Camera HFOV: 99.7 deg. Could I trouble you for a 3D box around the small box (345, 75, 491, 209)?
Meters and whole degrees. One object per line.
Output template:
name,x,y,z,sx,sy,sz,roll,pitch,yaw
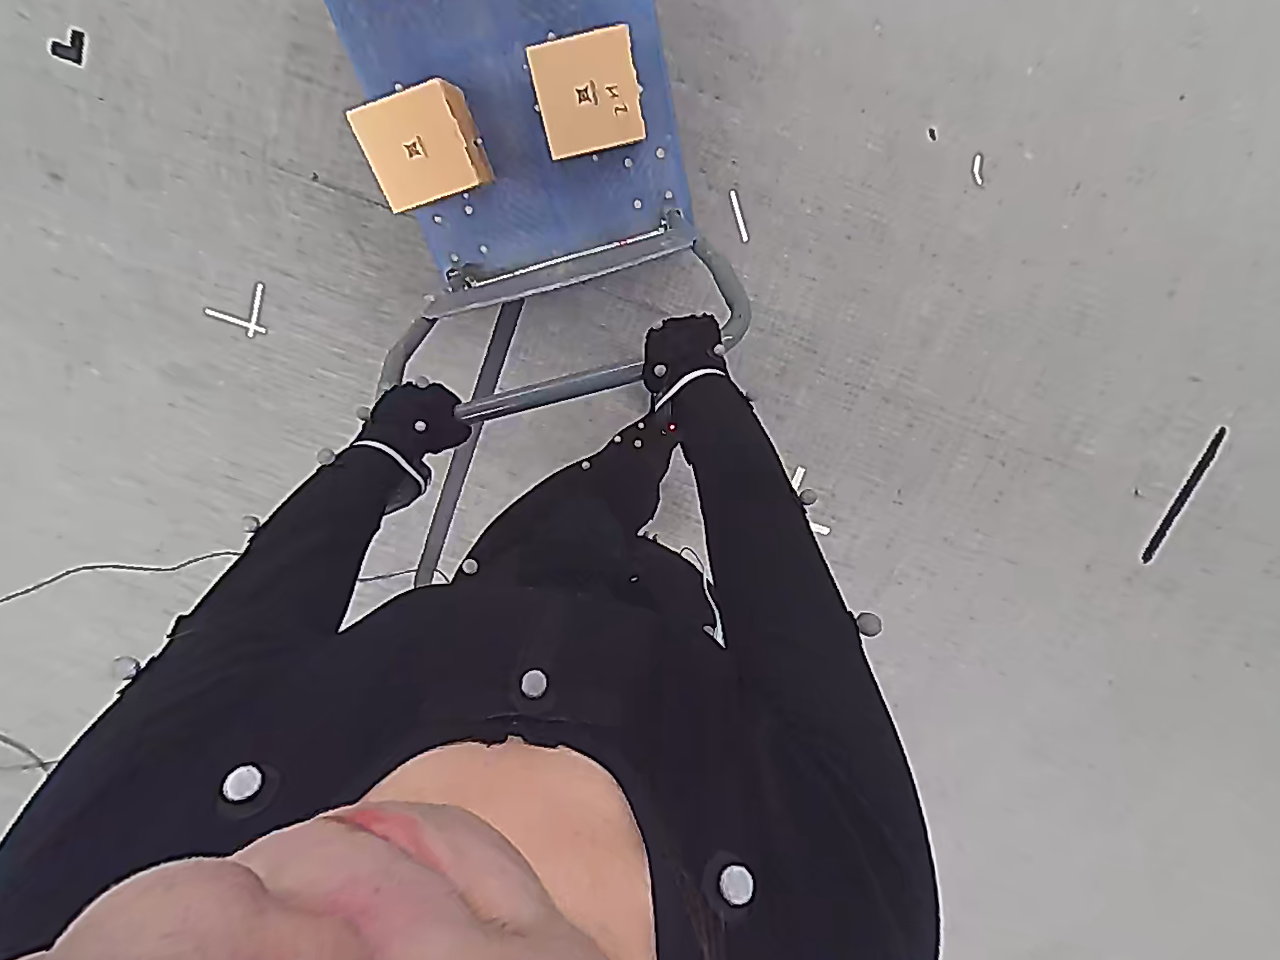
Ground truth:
small box,-0.401,-0.623,1.013,0.179,0.176,0.168,-17,120,4

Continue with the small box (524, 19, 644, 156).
small box,-0.095,-0.704,0.989,0.179,0.176,0.168,-12,121,2
